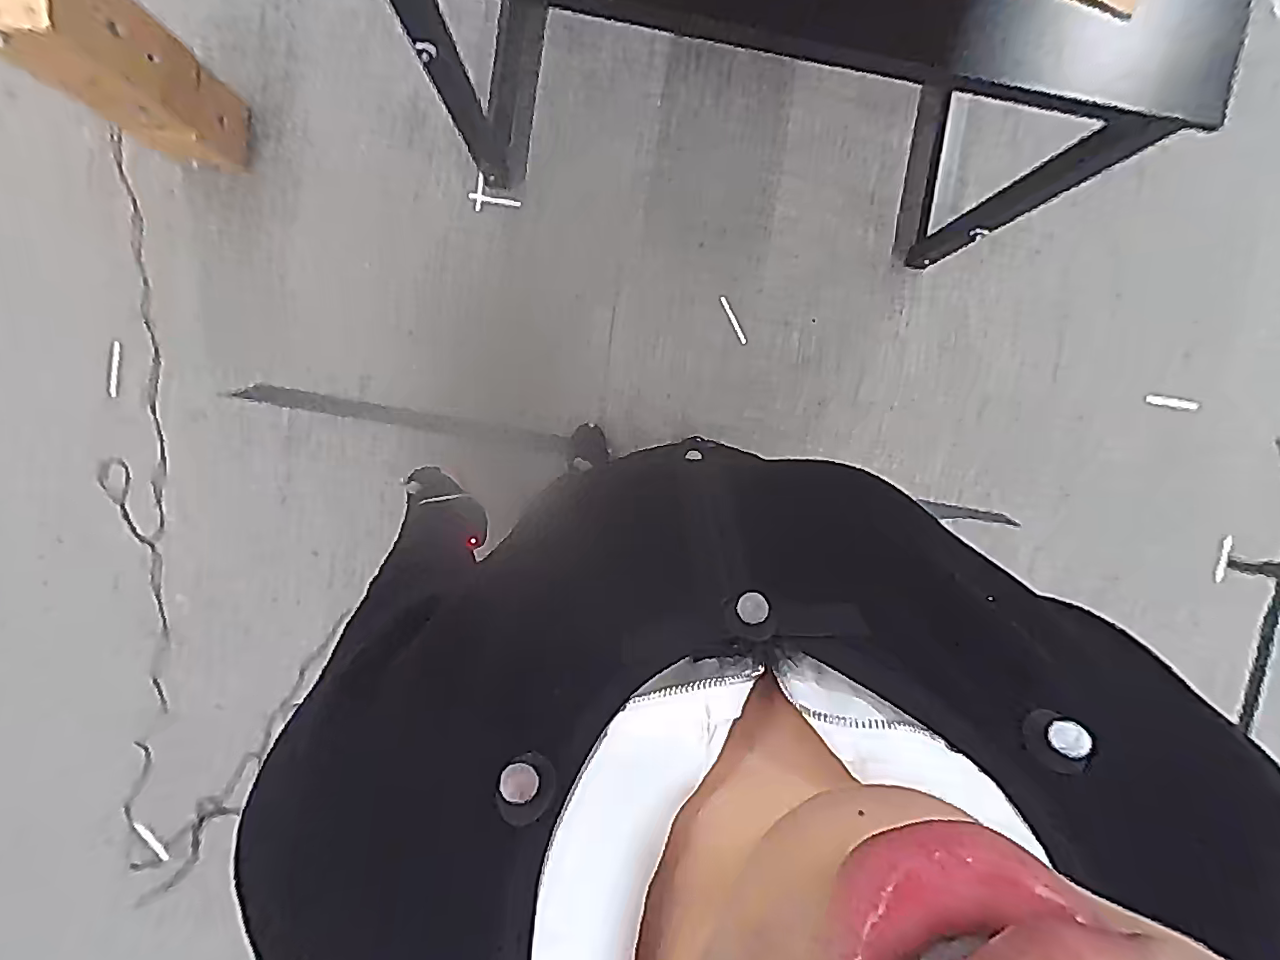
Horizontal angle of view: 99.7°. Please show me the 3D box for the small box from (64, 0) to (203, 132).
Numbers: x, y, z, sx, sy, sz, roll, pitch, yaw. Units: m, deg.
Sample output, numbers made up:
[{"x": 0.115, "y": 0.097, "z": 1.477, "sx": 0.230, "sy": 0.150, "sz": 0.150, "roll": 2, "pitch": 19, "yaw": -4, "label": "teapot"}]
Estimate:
[{"x": -1.057, "y": -0.864, "z": 1.130, "sx": 0.168, "sy": 0.176, "sz": 0.179, "roll": 3, "pitch": 93, "yaw": -3, "label": "small box"}]

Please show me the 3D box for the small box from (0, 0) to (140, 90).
[{"x": -1.050, "y": -0.846, "z": 0.967, "sx": 0.168, "sy": 0.176, "sz": 0.179, "roll": 1, "pitch": 94, "yaw": -2, "label": "small box"}]

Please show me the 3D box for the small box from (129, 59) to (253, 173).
[{"x": -1.062, "y": -0.871, "z": 1.292, "sx": 0.168, "sy": 0.176, "sz": 0.179, "roll": 6, "pitch": 95, "yaw": -2, "label": "small box"}]
